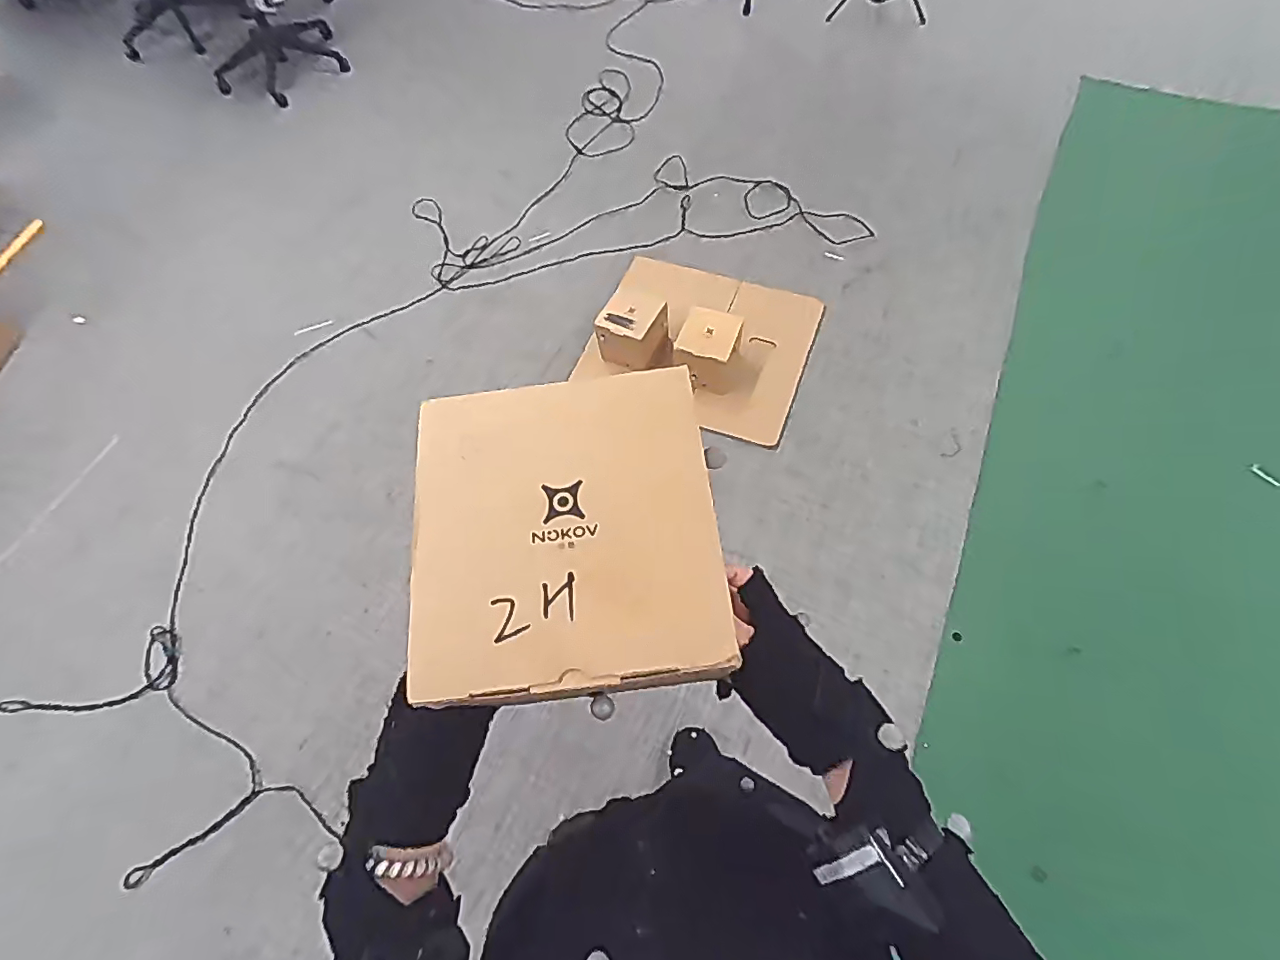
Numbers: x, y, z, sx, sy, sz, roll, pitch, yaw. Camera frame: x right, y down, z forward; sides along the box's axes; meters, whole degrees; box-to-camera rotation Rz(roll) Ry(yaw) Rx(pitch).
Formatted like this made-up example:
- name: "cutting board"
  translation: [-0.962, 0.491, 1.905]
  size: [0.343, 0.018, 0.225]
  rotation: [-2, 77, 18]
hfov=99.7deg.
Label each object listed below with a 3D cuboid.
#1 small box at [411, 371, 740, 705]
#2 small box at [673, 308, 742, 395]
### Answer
- name: "small box"
  translation: [-0.036, 0.052, 0.371]
  size: [0.168, 0.176, 0.179]
  rotation: [-7, 67, 1]
- name: "small box"
  translation: [0.203, -0.393, 1.666]
  size: [0.168, 0.176, 0.179]
  rotation: [18, 67, 12]
